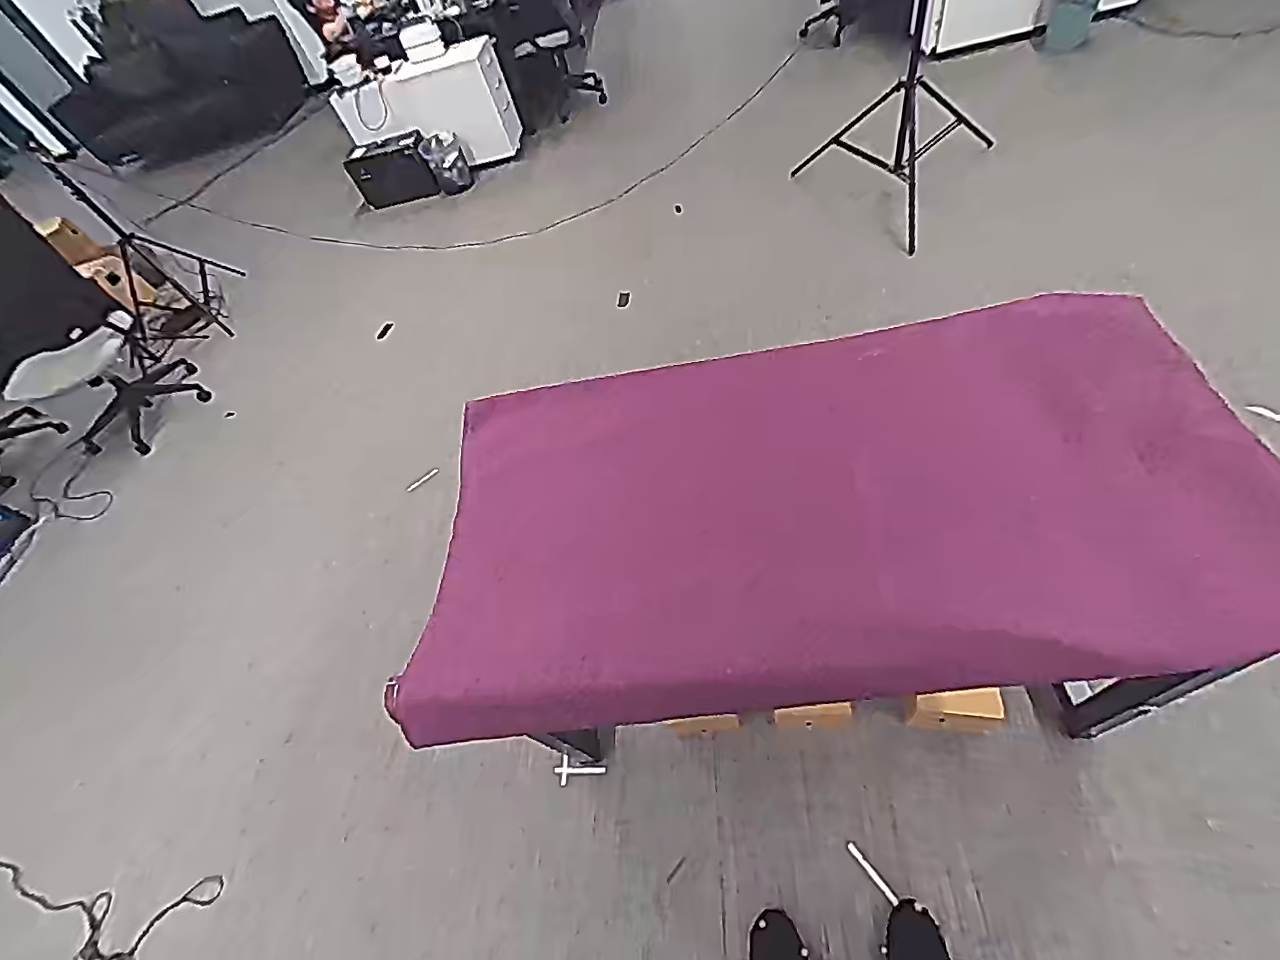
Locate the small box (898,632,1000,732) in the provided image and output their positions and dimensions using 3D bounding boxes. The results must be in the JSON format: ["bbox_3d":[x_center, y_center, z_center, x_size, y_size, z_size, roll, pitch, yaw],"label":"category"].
[{"bbox_3d":[0.701,0.469,1.247,0.168,0.176,0.179,0,54,16],"label":"small box"}]

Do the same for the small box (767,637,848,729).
[{"bbox_3d":[0.400,0.496,1.309,0.168,0.176,0.179,-5,53,11],"label":"small box"}]
